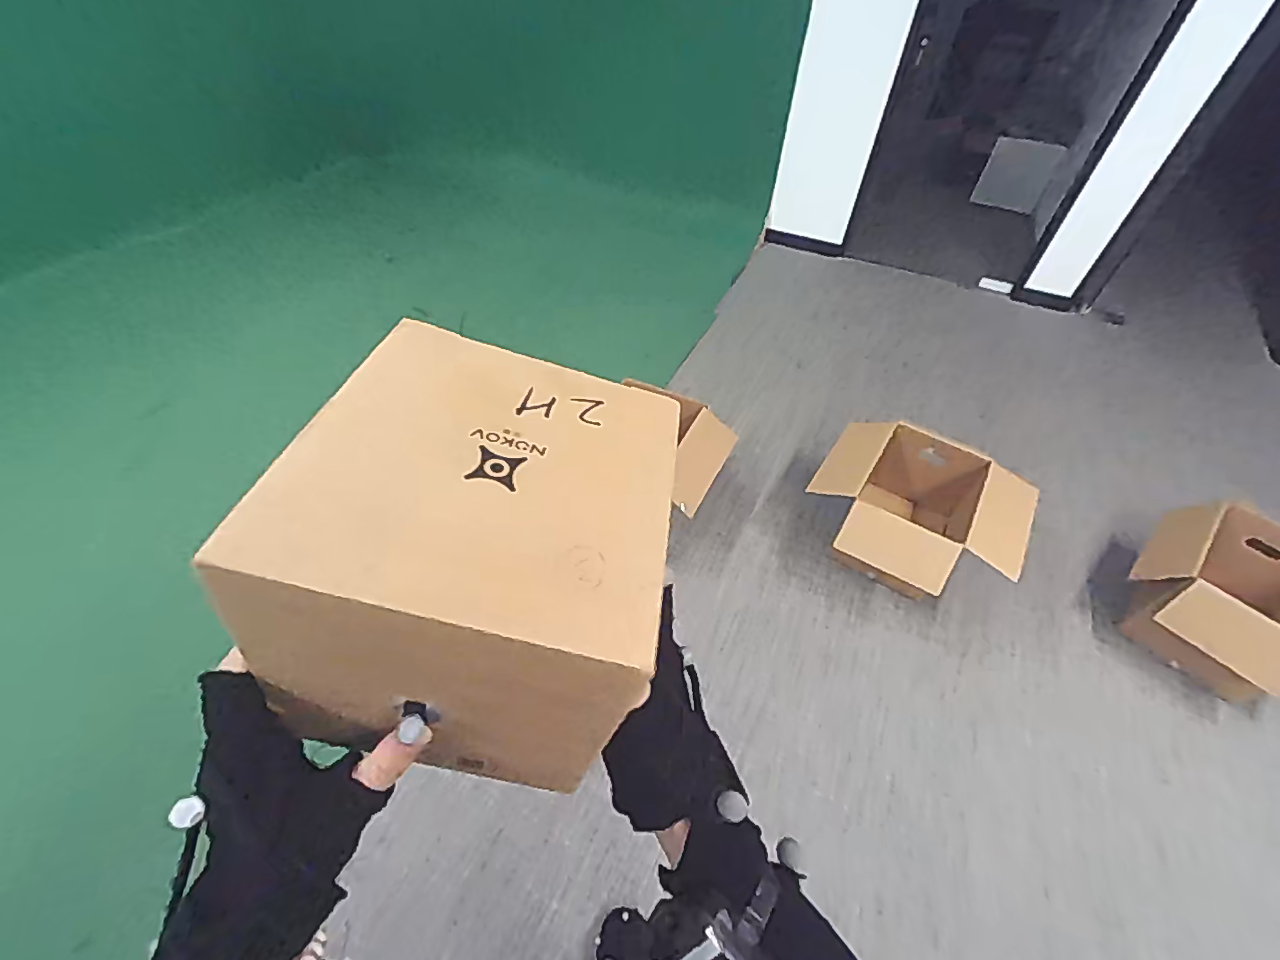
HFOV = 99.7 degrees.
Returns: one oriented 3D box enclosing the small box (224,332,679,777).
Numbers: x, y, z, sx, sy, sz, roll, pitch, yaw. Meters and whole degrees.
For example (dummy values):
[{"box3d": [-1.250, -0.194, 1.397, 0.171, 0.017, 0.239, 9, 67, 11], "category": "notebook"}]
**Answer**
[{"box3d": [-0.084, 0.049, 0.316, 0.168, 0.176, 0.179, 16, 43, -7], "category": "small box"}]
